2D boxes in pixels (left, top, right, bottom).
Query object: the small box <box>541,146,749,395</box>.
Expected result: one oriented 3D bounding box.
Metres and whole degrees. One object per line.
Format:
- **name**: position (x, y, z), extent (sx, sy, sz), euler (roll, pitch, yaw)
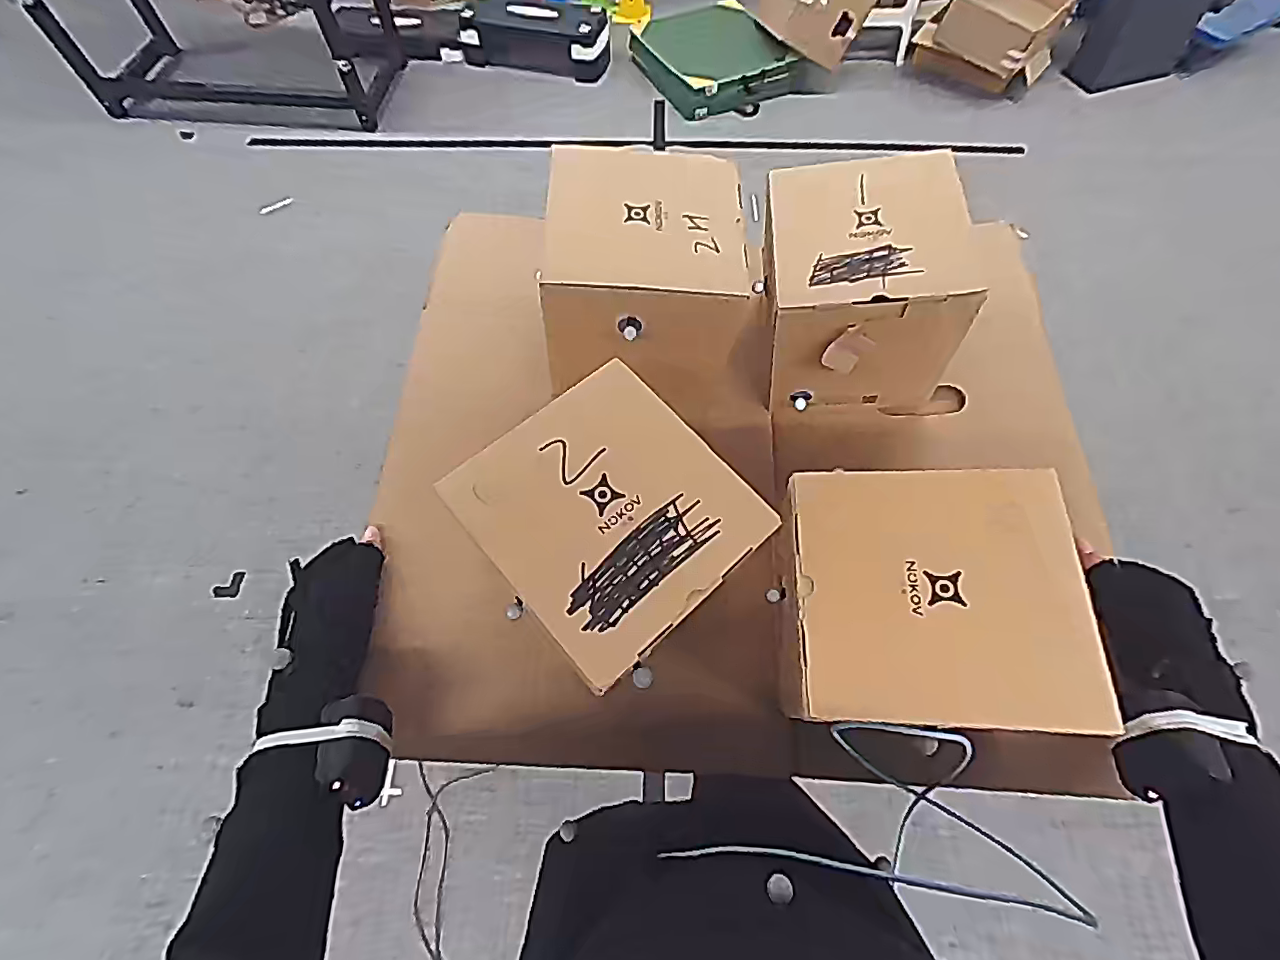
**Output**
- **small box**: position (0.001, -0.200, 0.549), extent (0.179, 0.176, 0.168), euler (3, 67, -4)
